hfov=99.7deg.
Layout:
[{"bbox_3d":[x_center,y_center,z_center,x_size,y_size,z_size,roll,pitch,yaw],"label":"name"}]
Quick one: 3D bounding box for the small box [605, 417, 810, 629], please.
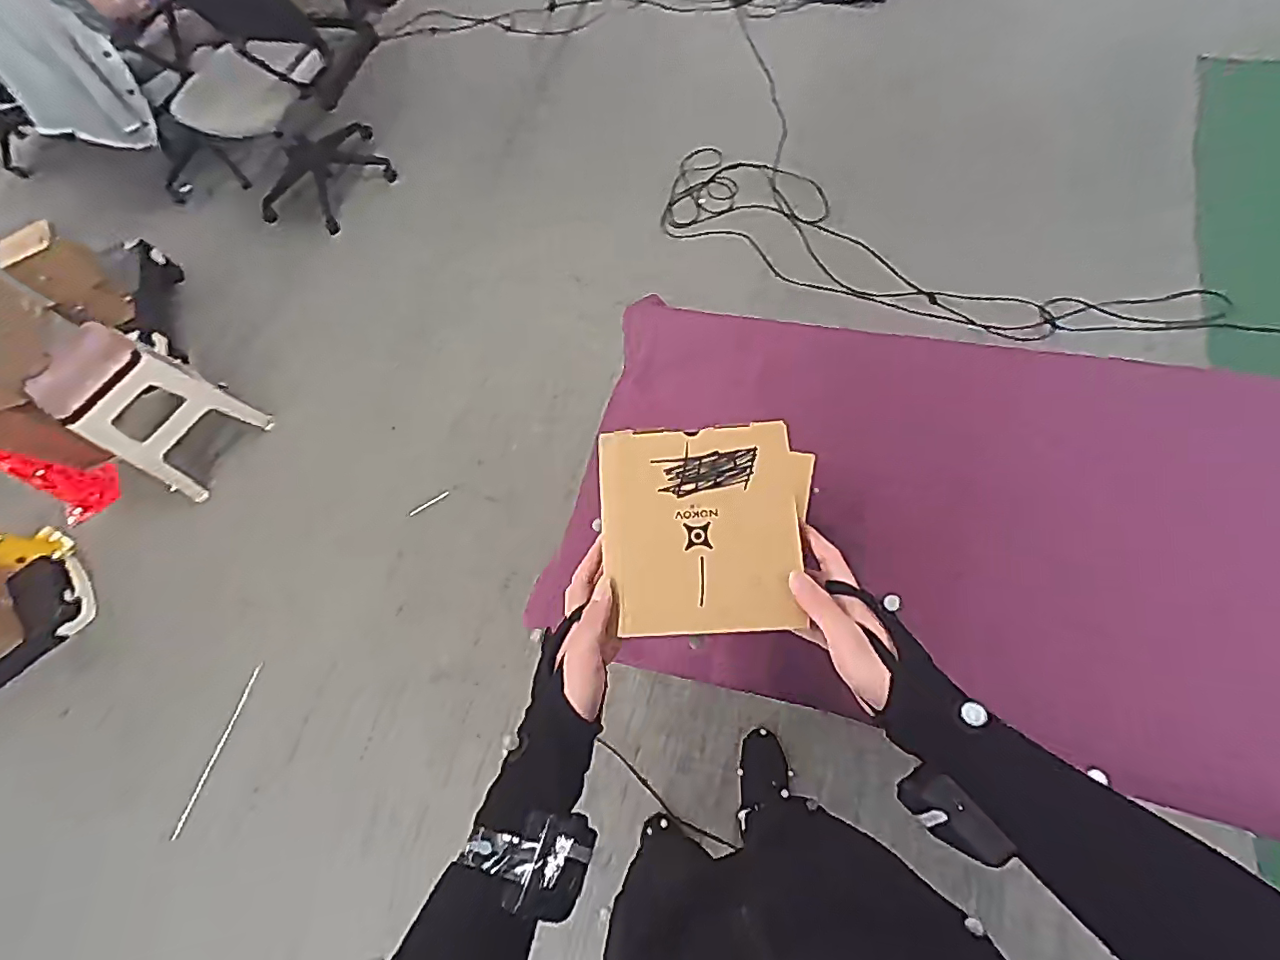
[{"bbox_3d":[0.057,0.052,0.526,0.168,0.176,0.179,-3,77,4],"label":"small box"}]
